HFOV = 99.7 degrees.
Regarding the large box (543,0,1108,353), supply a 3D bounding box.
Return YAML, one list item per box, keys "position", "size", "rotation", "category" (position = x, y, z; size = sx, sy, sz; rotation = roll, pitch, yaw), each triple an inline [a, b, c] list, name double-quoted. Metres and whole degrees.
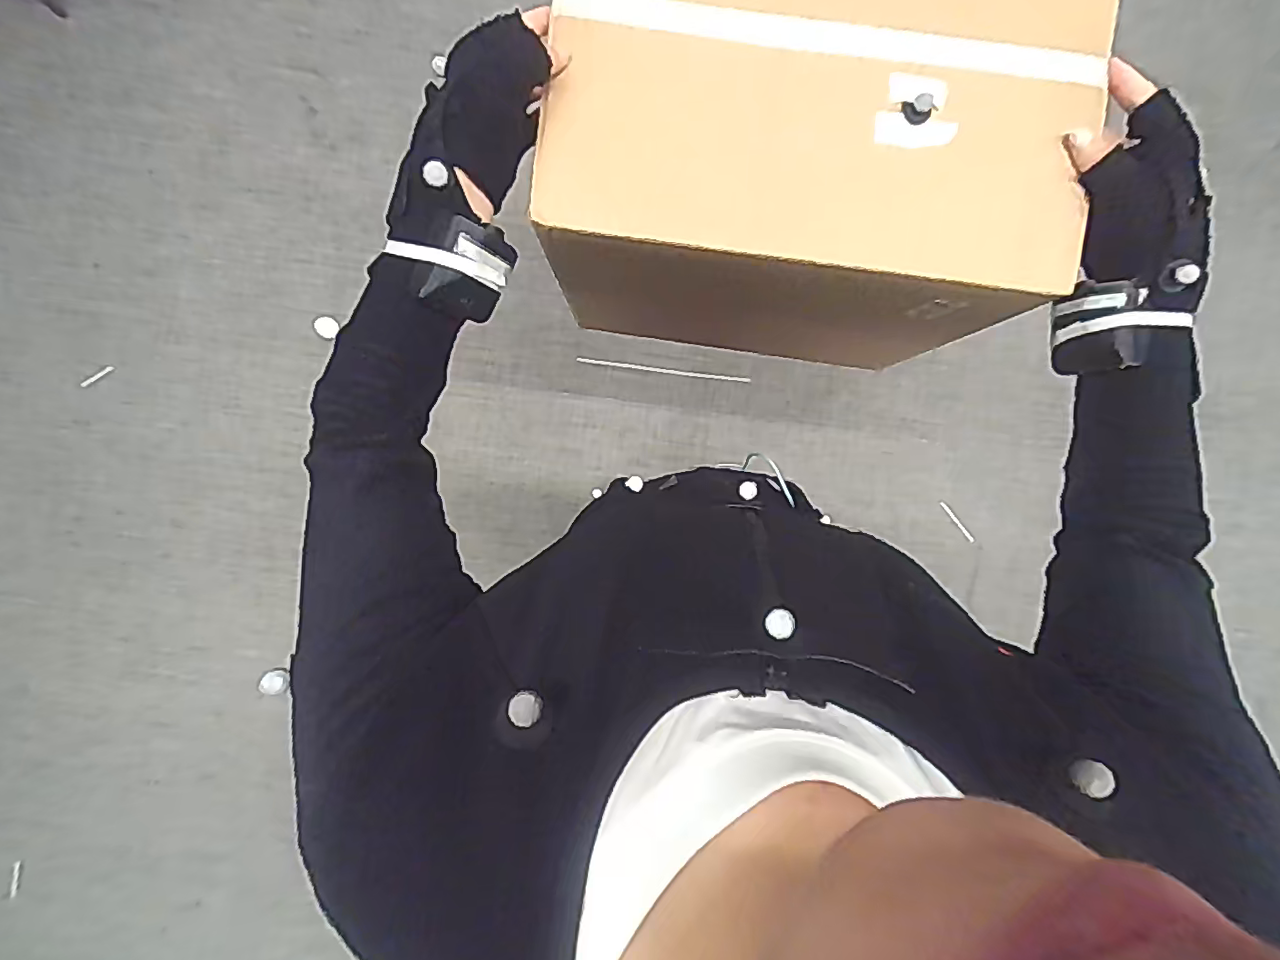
- position: [0.138, -0.331, 0.549]
  size: [0.408, 0.320, 0.320]
  rotation: [8, 93, 0]
  category: "large box"
